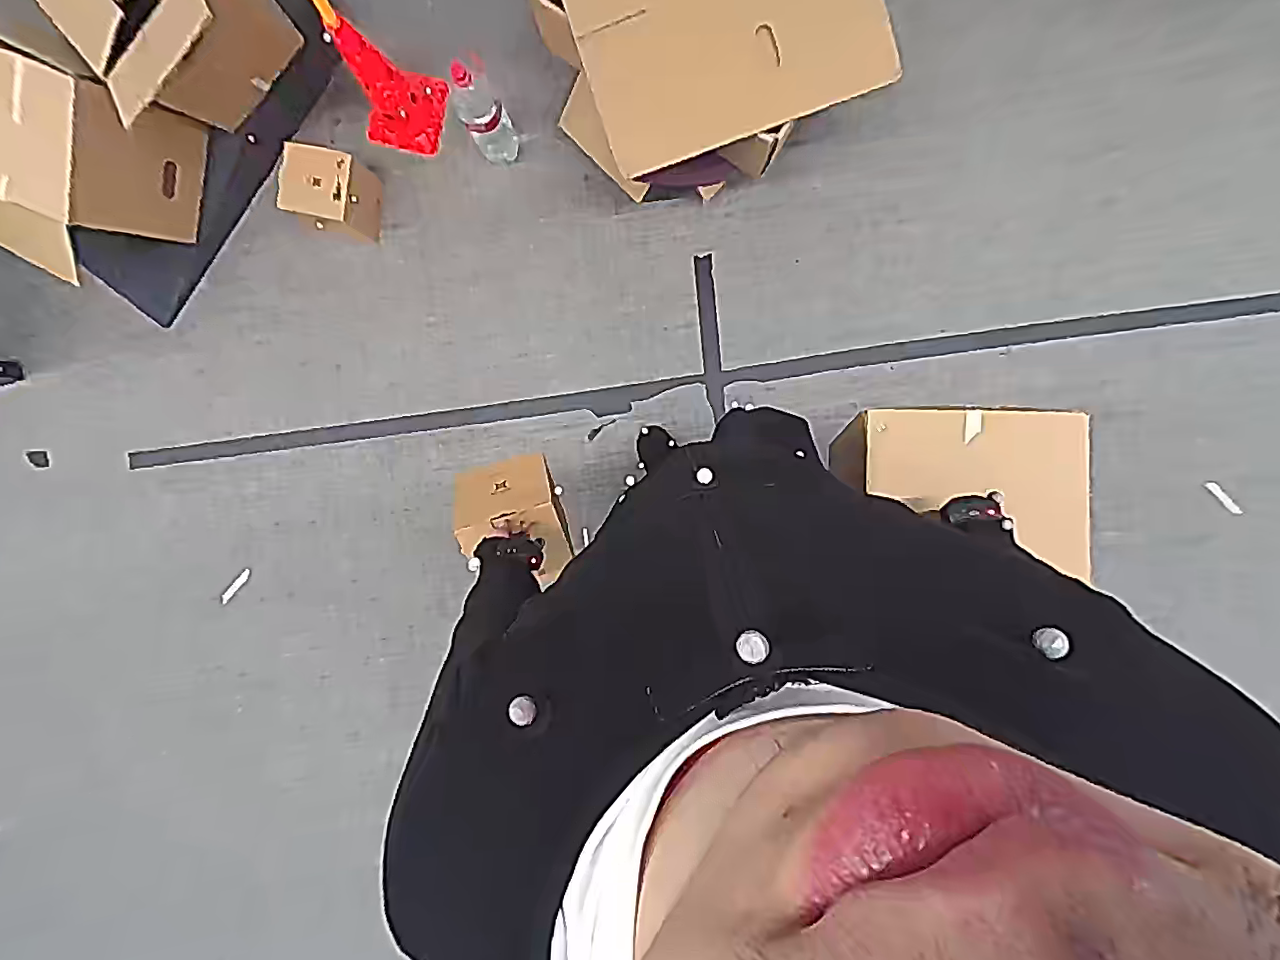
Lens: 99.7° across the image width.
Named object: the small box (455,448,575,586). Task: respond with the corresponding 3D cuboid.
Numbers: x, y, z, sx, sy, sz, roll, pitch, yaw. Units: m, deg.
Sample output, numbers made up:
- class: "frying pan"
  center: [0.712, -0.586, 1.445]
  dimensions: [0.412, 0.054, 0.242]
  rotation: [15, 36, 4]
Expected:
- class: "small box"
  center: [-0.226, 0.073, 0.991]
  dimensions: [0.168, 0.179, 0.176]
  rotation: [-17, 126, -6]
